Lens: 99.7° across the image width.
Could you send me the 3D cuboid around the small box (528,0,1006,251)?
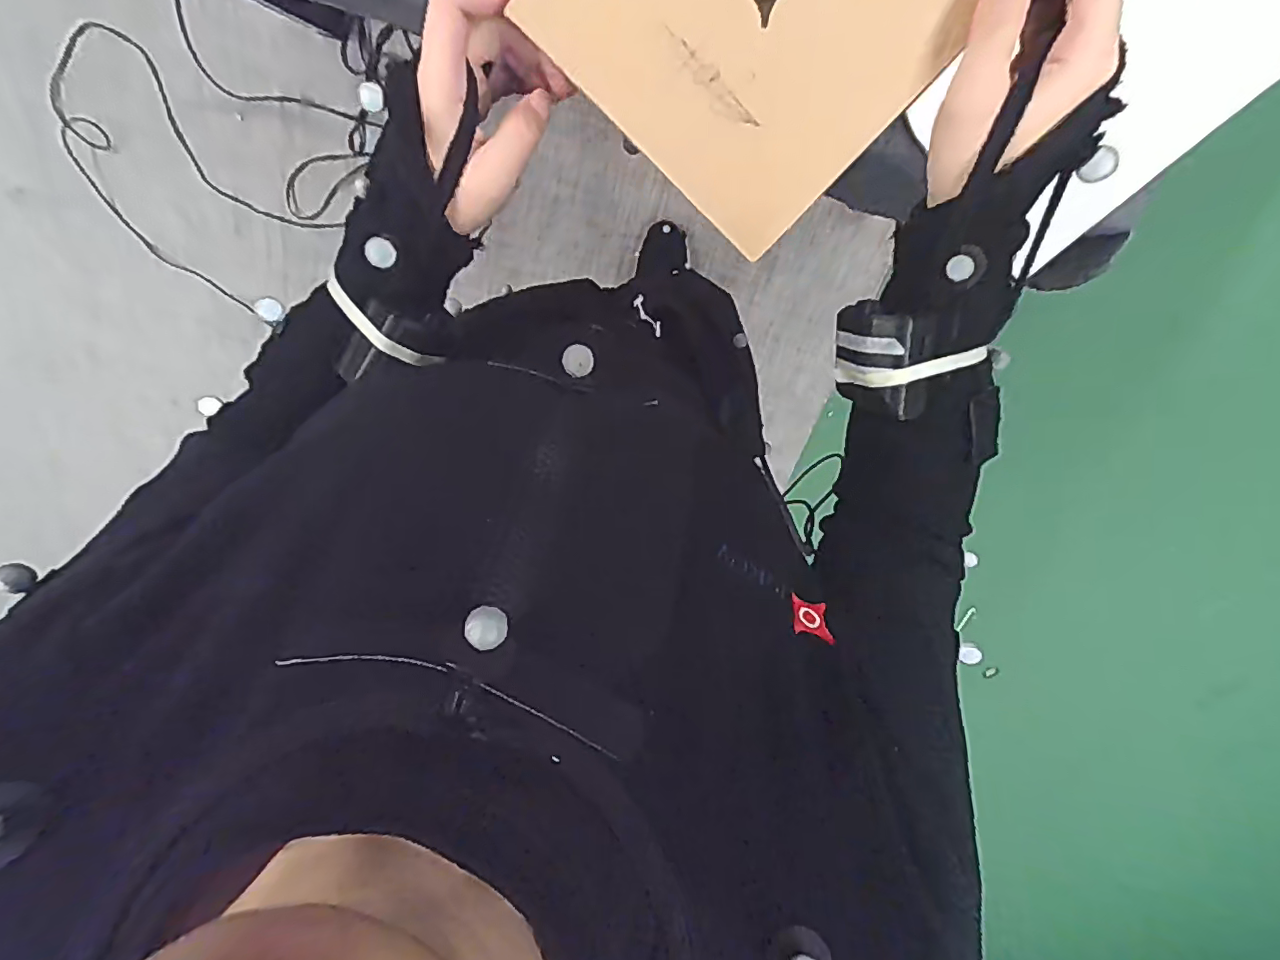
[{"bbox_3d":[0.070,-0.267,0.297,0.168,0.176,0.179,37,121,-17],"label":"small box"}]
